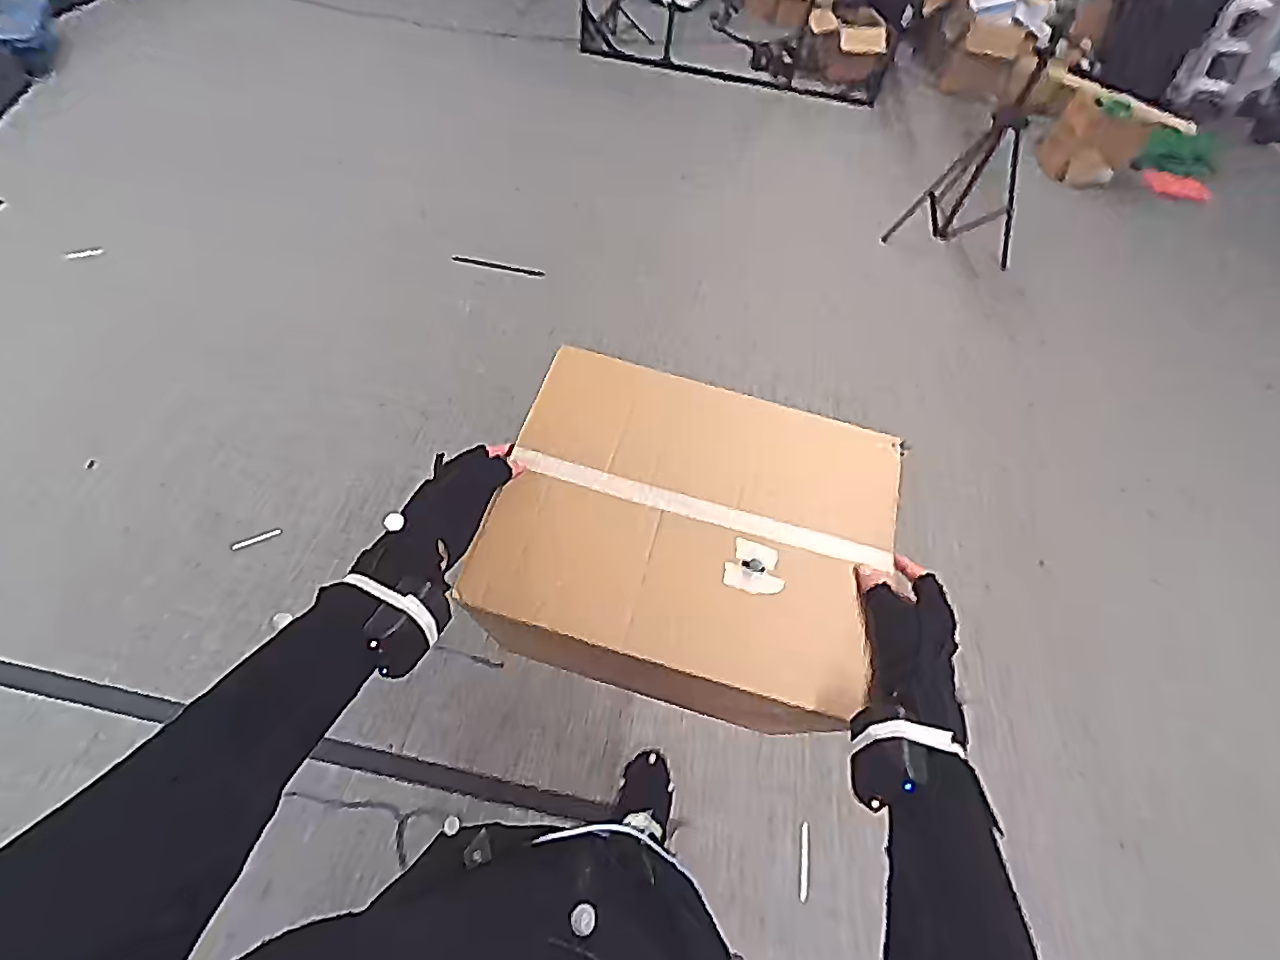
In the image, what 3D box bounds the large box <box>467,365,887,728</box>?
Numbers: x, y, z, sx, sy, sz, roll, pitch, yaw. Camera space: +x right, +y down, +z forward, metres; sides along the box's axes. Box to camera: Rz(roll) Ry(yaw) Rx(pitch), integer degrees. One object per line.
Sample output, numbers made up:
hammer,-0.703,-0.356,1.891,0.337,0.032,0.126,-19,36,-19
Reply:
large box,0.046,0.107,0.707,0.408,0.320,0.320,16,65,2
